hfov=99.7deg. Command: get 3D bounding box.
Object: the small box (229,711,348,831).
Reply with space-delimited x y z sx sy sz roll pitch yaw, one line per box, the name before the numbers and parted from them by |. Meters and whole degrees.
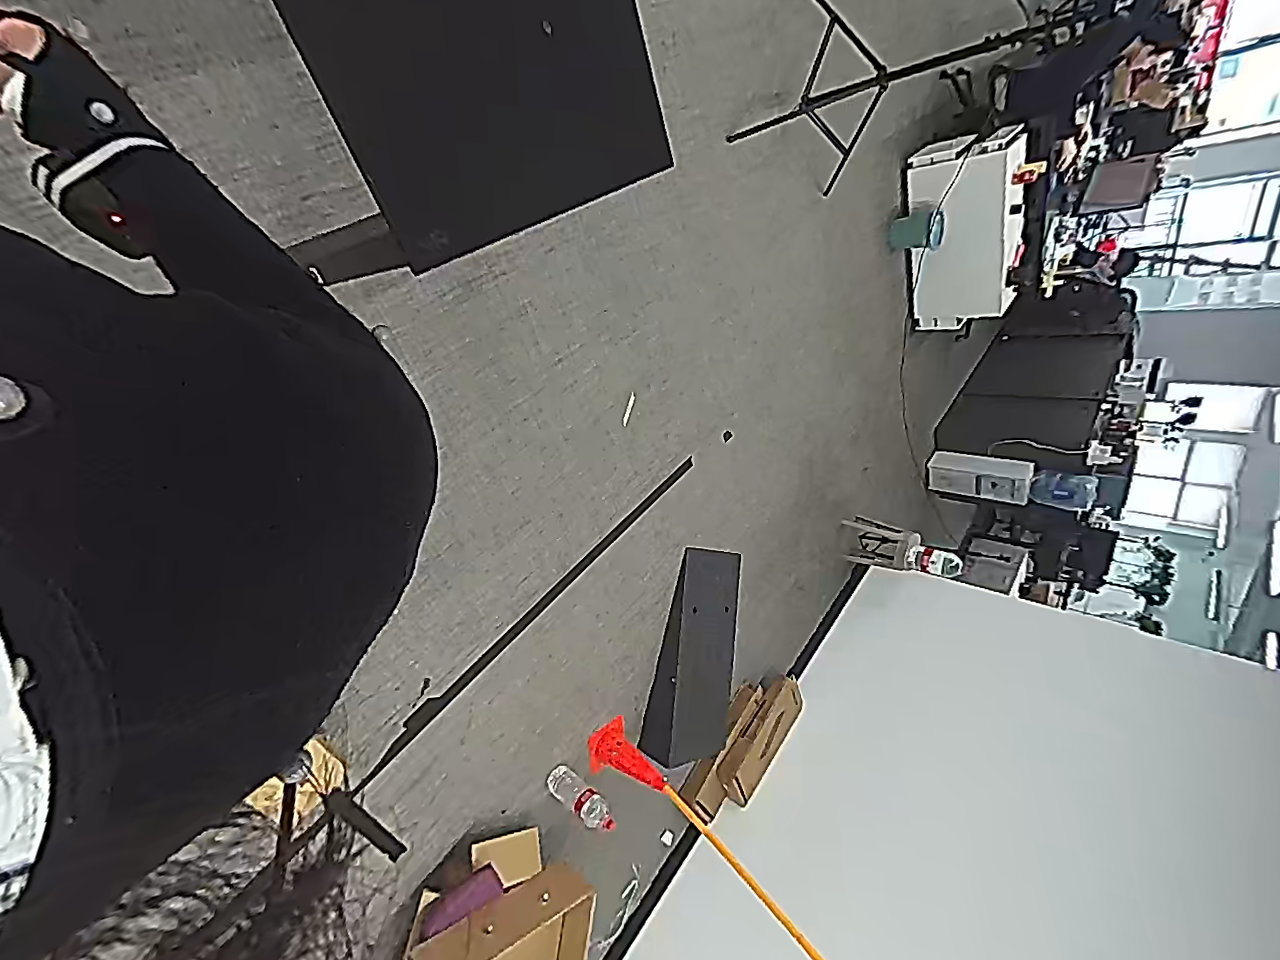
small box | -0.892 0.726 1.370 0.179 0.176 0.168 -42 126 -31
